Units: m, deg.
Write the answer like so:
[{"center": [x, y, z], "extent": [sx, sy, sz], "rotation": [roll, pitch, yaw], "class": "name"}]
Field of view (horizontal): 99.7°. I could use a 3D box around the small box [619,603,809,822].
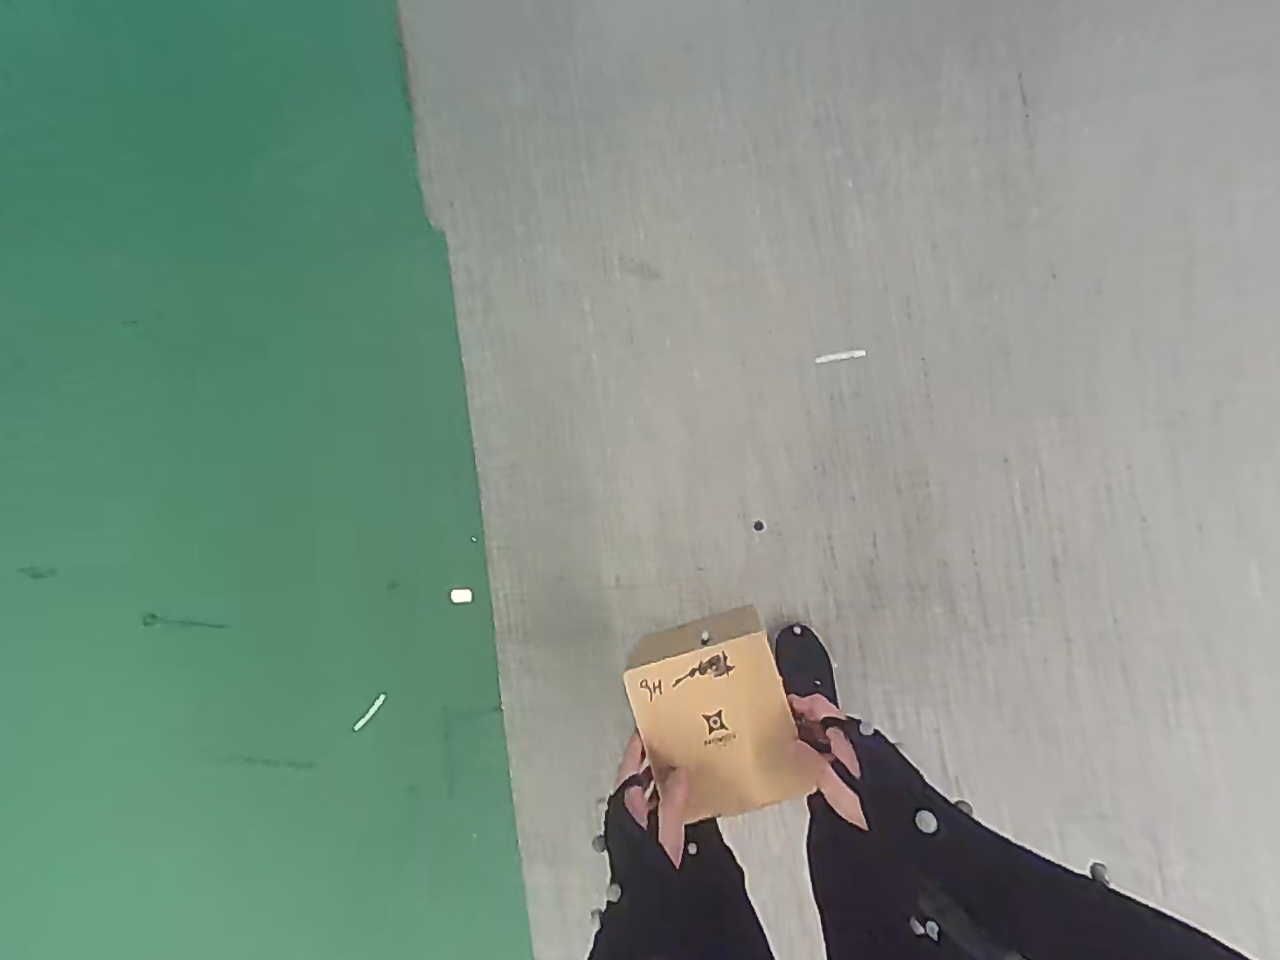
[{"center": [0.090, 0.267, 0.658], "extent": [0.168, 0.176, 0.179], "rotation": [-18, 85, 8], "class": "small box"}]
